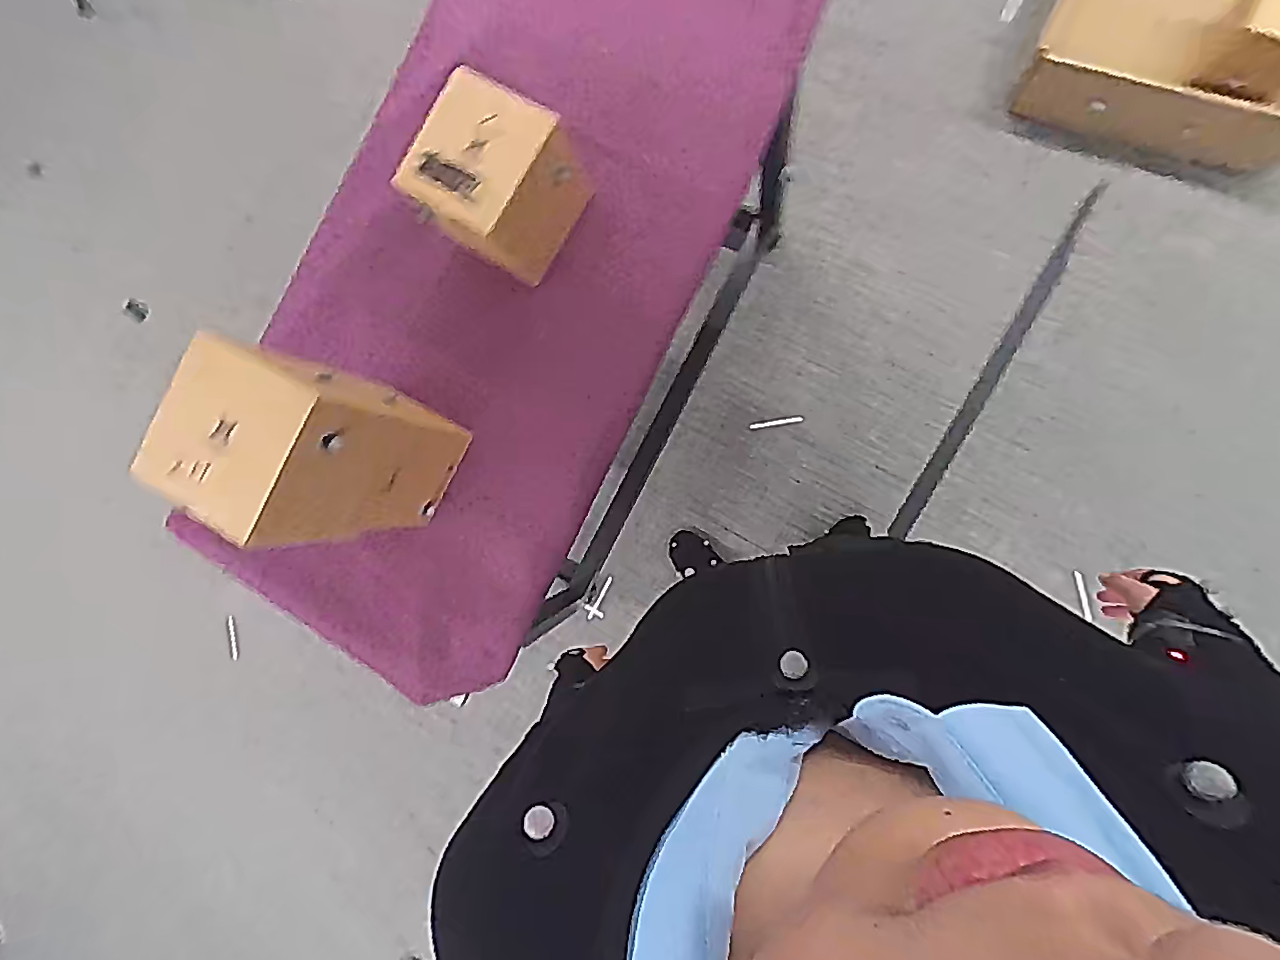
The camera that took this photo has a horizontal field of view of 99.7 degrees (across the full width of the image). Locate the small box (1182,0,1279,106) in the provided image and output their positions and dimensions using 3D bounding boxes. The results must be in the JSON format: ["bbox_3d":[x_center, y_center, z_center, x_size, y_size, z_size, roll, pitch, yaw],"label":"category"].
[{"bbox_3d":[1.378,-0.988,1.198,0.168,0.176,0.179,24,92,11],"label":"small box"}]

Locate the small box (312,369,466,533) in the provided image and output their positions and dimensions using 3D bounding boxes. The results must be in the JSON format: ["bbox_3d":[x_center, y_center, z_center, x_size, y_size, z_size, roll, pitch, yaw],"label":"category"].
[{"bbox_3d":[-0.392,-0.038,0.796,0.179,0.176,0.168,28,92,11],"label":"small box"}]

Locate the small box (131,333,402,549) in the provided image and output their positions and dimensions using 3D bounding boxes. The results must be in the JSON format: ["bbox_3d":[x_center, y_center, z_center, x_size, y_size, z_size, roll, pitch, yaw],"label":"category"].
[{"bbox_3d":[-0.414,-0.039,0.633,0.168,0.176,0.179,28,92,10],"label":"small box"}]
